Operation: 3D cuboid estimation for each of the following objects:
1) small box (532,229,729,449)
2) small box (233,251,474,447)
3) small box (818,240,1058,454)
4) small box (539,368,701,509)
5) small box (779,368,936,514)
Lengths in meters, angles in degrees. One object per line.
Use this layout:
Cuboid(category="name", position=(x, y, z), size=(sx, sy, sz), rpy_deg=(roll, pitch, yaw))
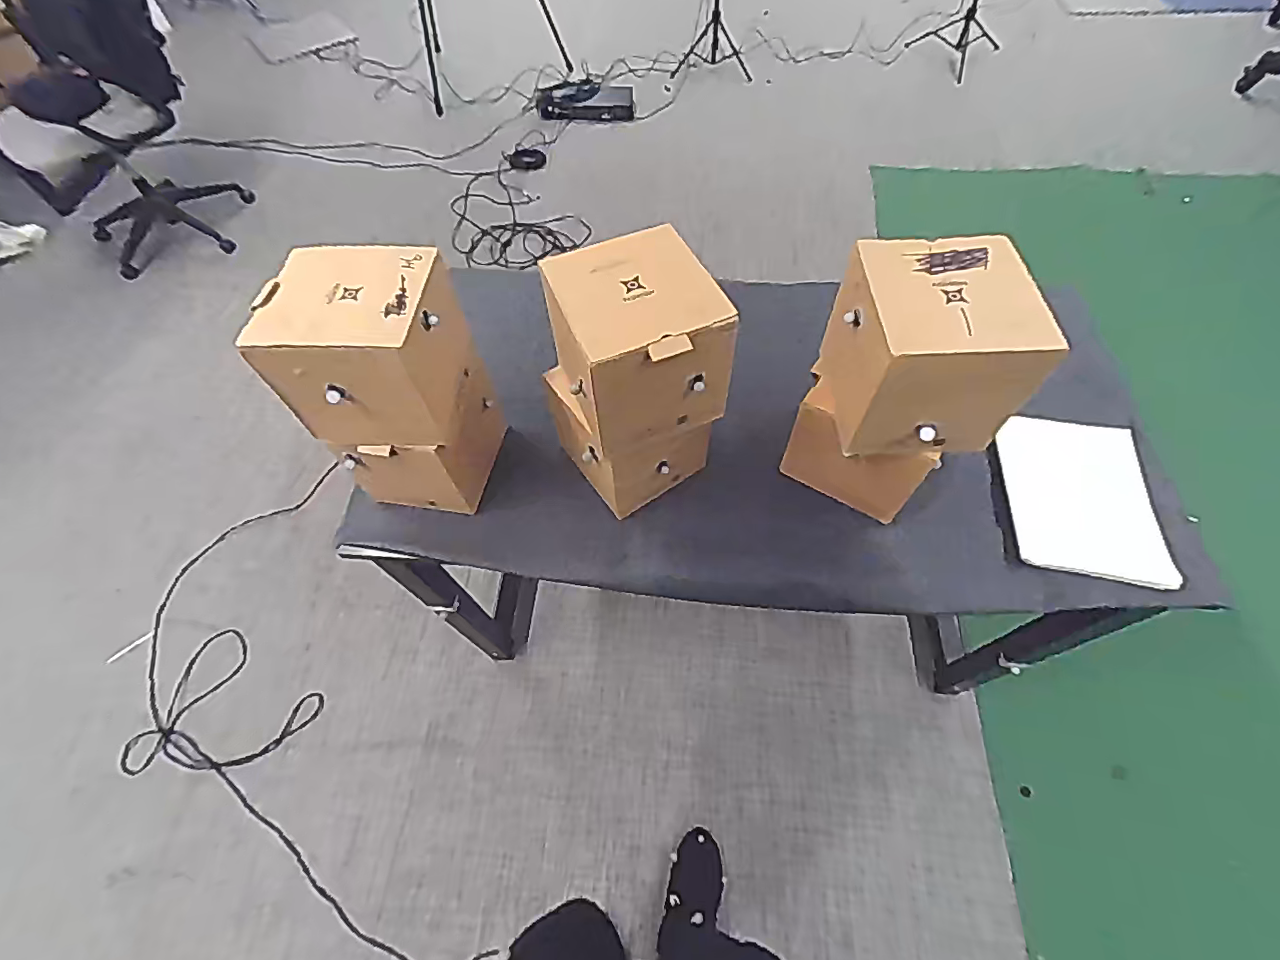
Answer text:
Cuboid(category="small box", position=(-0.011, -0.158, 0.645), size=(0.168, 0.176, 0.179), rpy_deg=(-21, 59, -11))
Cuboid(category="small box", position=(-0.323, -0.152, 0.654), size=(0.179, 0.176, 0.168), rpy_deg=(0, 57, 3))
Cuboid(category="small box", position=(0.316, -0.148, 0.622), size=(0.168, 0.176, 0.179), rpy_deg=(-2, 58, 3))
Cuboid(category="small box", position=(-0.021, -0.080, 0.789), size=(0.168, 0.176, 0.179), rpy_deg=(-32, 62, -17))
Cuboid(category="small box", position=(0.322, -0.075, 0.770), size=(0.179, 0.176, 0.168), rpy_deg=(28, 64, 20))
